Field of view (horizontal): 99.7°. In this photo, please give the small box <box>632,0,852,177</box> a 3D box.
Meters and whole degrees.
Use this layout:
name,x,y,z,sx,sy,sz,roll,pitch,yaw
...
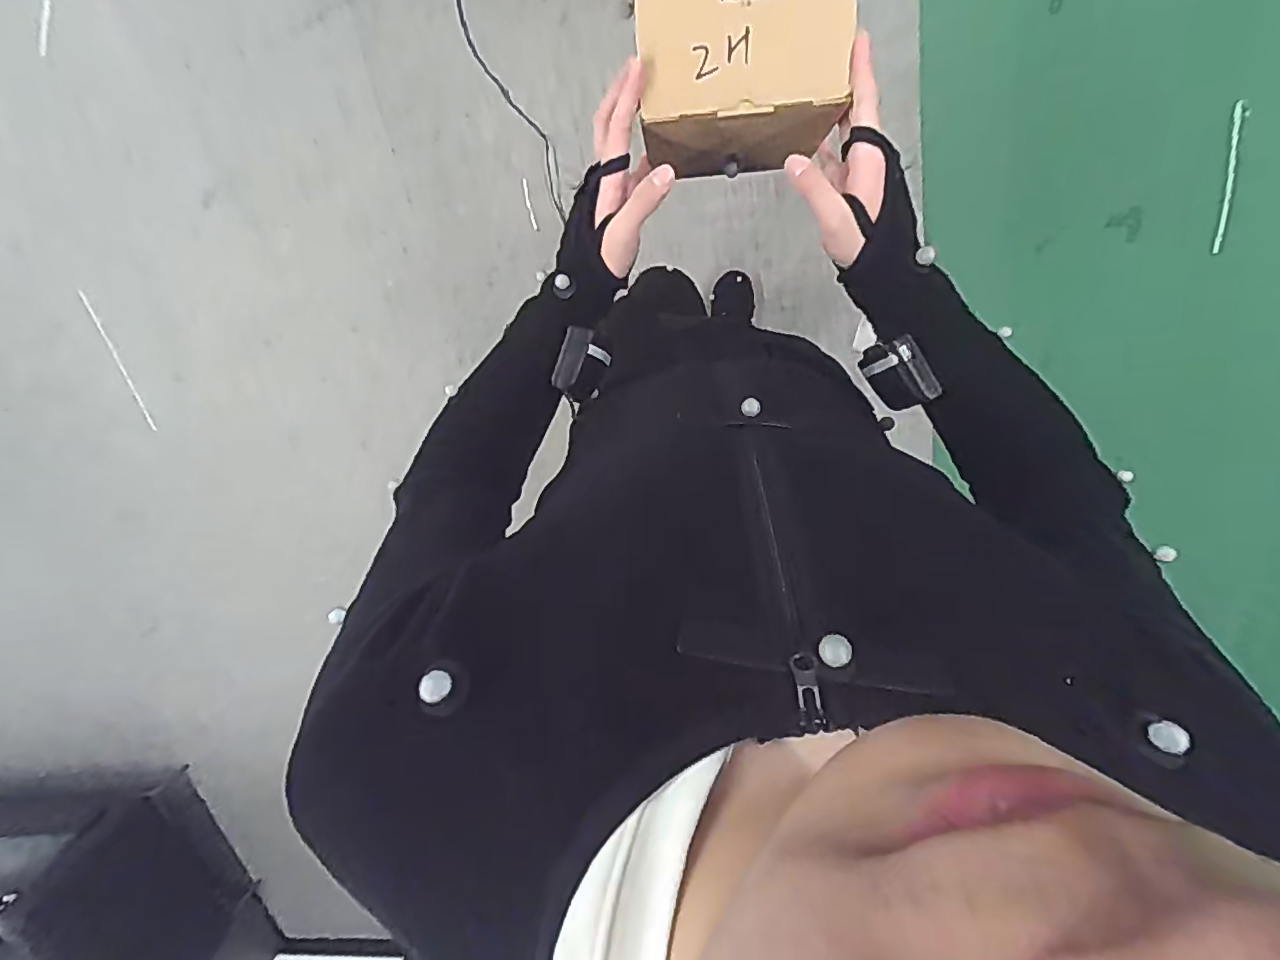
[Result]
name,x,y,z,sx,sy,sz,roll,pitch,yaw
small box,0.080,-0.393,0.477,0.168,0.176,0.179,-2,104,6
